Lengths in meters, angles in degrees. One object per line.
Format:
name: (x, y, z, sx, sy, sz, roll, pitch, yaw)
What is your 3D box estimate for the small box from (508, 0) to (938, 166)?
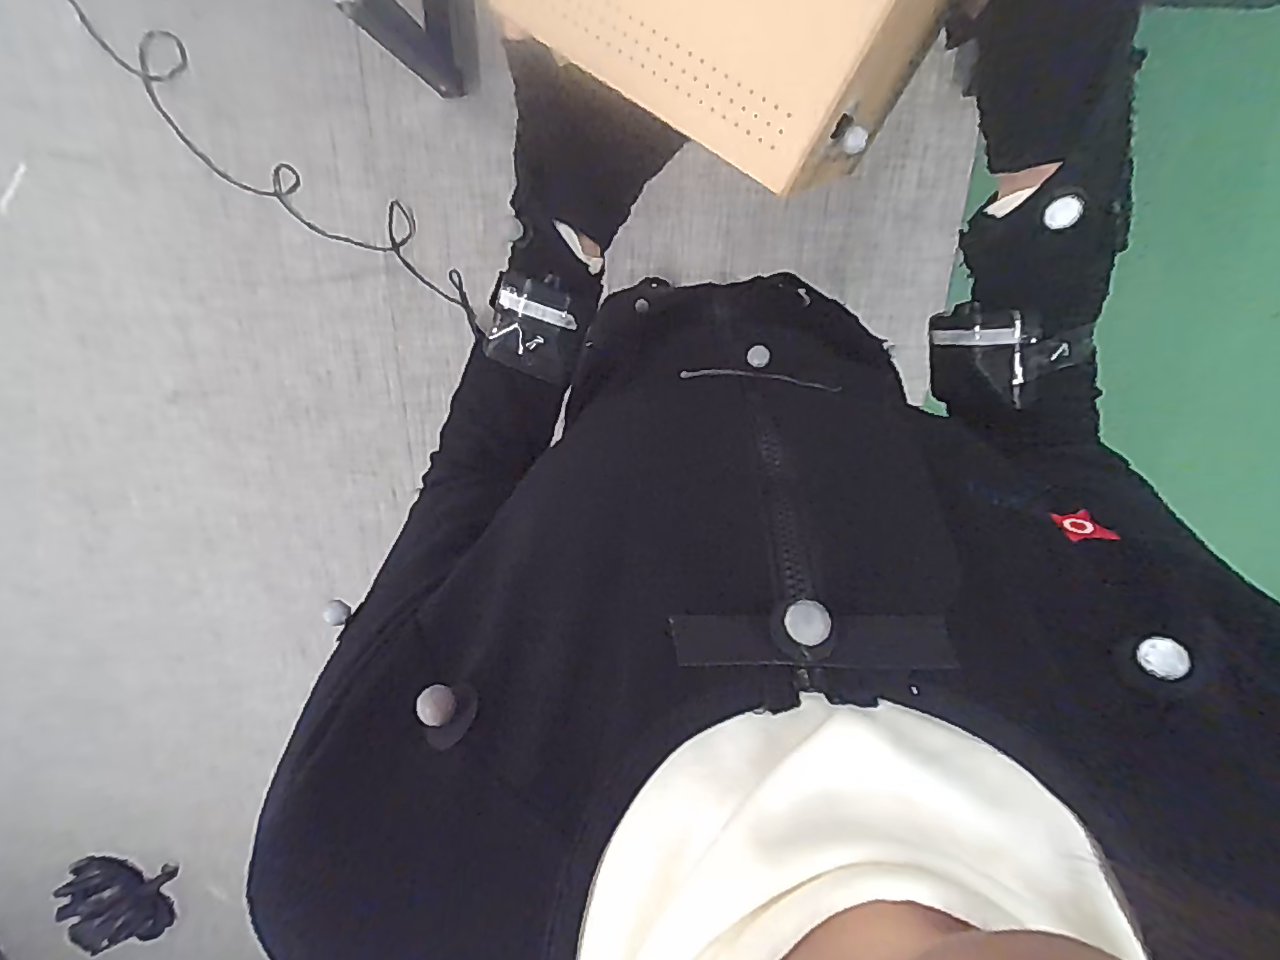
small box: (0.063, -0.278, 0.267, 0.179, 0.168, 0.176, 36, 132, 7)
